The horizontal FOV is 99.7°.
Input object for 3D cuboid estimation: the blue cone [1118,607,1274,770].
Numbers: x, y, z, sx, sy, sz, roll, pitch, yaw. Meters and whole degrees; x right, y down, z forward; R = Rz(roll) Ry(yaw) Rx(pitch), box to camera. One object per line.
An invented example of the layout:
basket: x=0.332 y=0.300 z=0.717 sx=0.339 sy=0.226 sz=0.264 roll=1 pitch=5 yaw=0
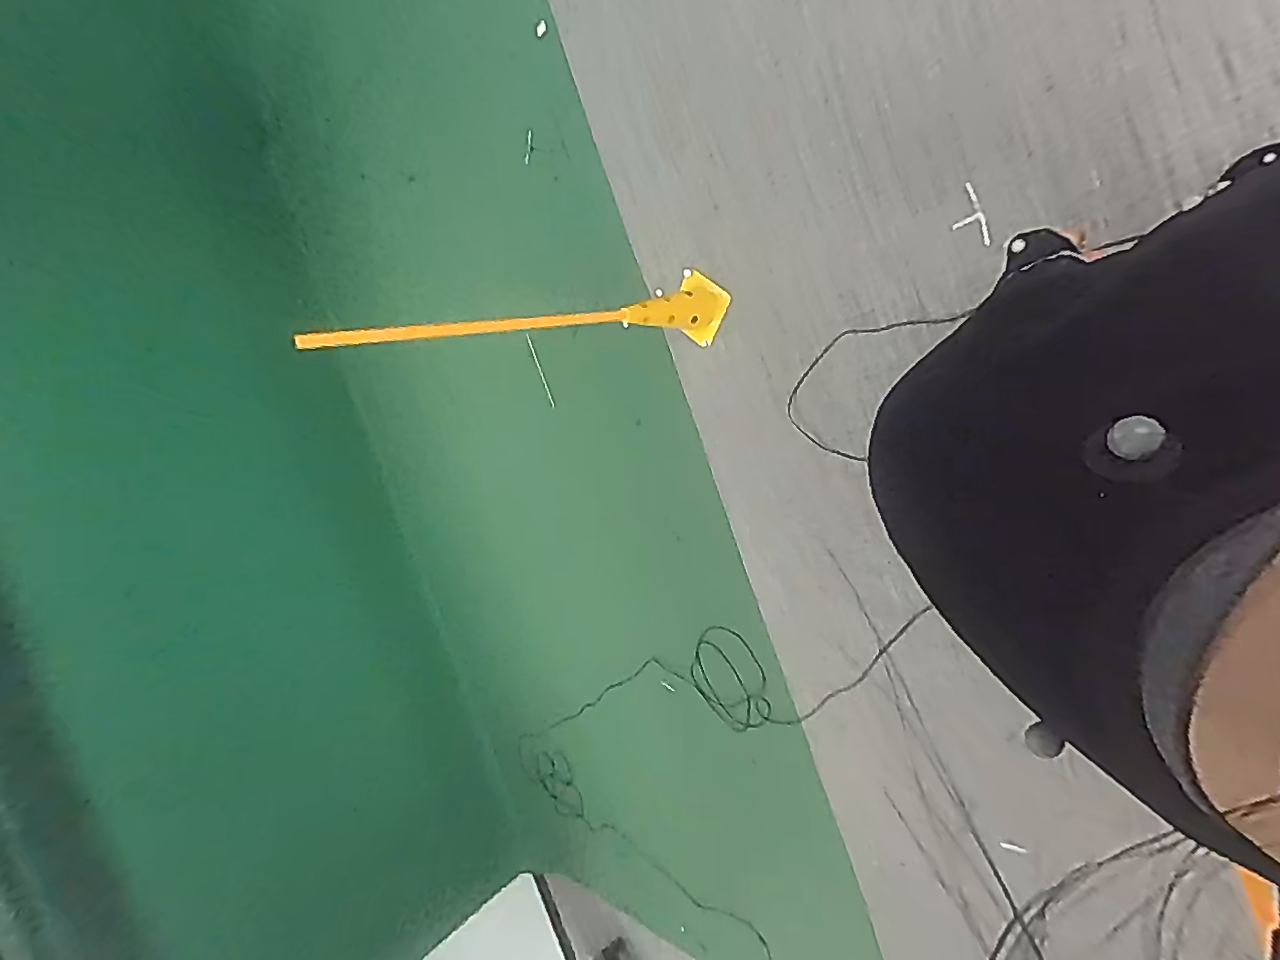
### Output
blue cone: x=1.087 y=0.427 z=1.057 sx=0.193 sy=0.380 sz=0.192 roll=36 pitch=128 yaw=28
